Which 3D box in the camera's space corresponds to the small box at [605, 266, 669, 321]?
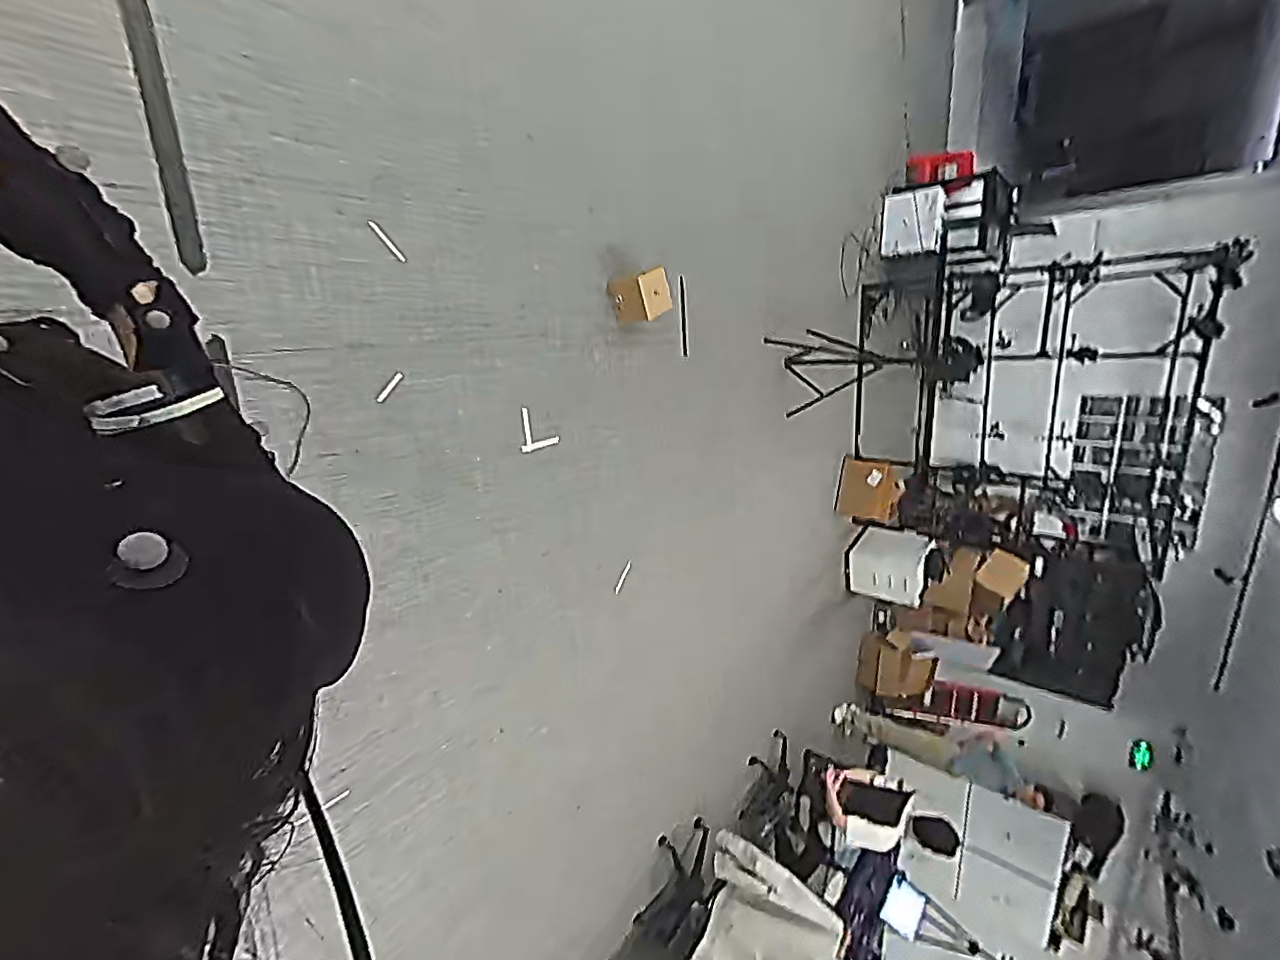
[{"bbox_3d":[-0.011,-0.751,2.178,0.179,0.176,0.168,-41,126,-37],"label":"small box"}]
